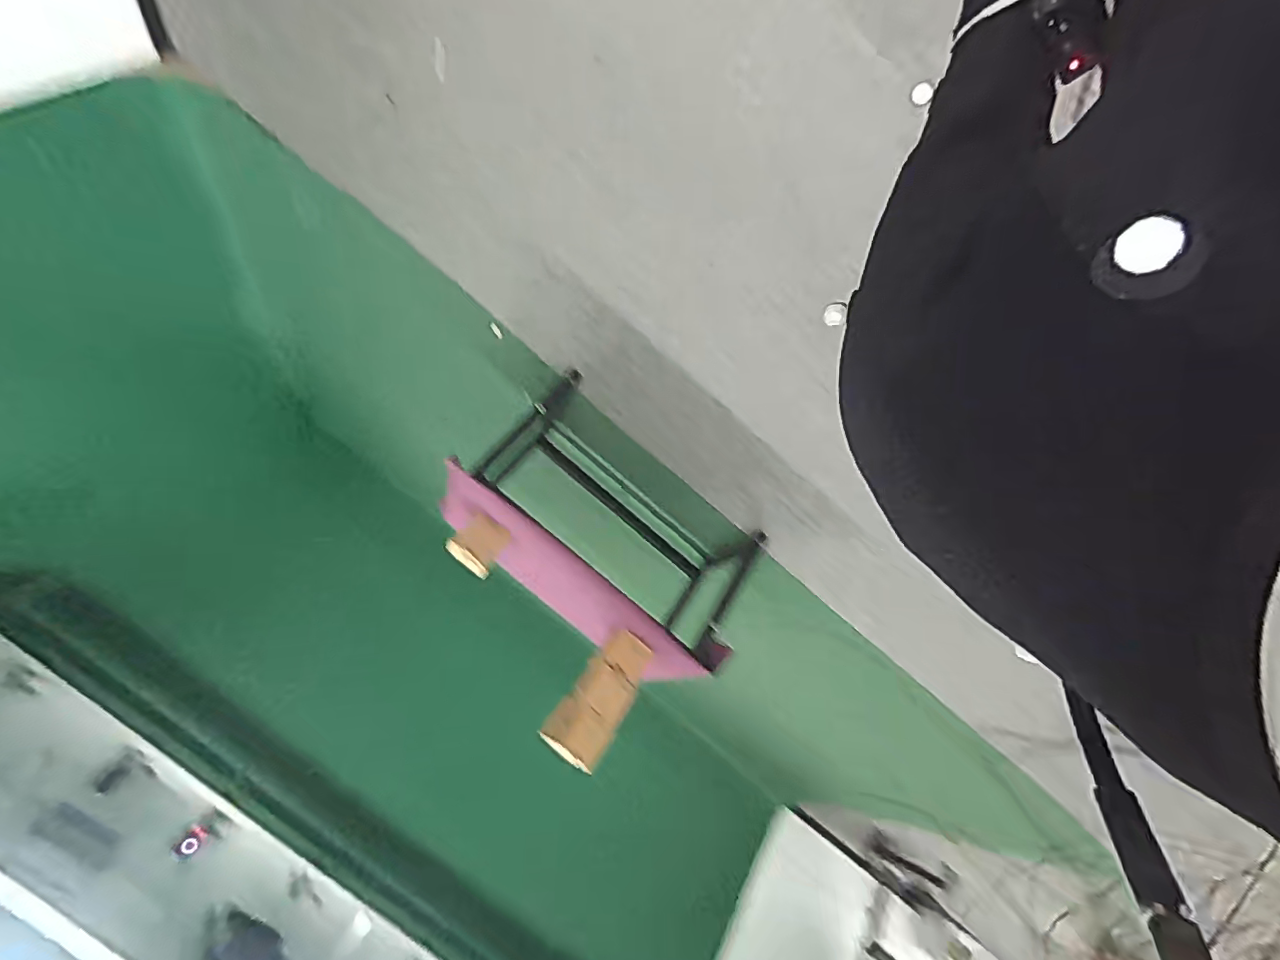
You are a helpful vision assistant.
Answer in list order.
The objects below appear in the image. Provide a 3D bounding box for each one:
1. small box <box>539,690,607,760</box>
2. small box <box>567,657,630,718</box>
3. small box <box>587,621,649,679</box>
[{"bbox_3d":[-0.250,0.939,2.088,0.179,0.176,0.168,-10,124,49],"label":"small box"},{"bbox_3d":[-0.163,0.827,2.170,0.168,0.176,0.179,43,149,-7],"label":"small box"},{"bbox_3d":[-0.089,0.715,2.267,0.168,0.176,0.179,40,148,-3],"label":"small box"}]
